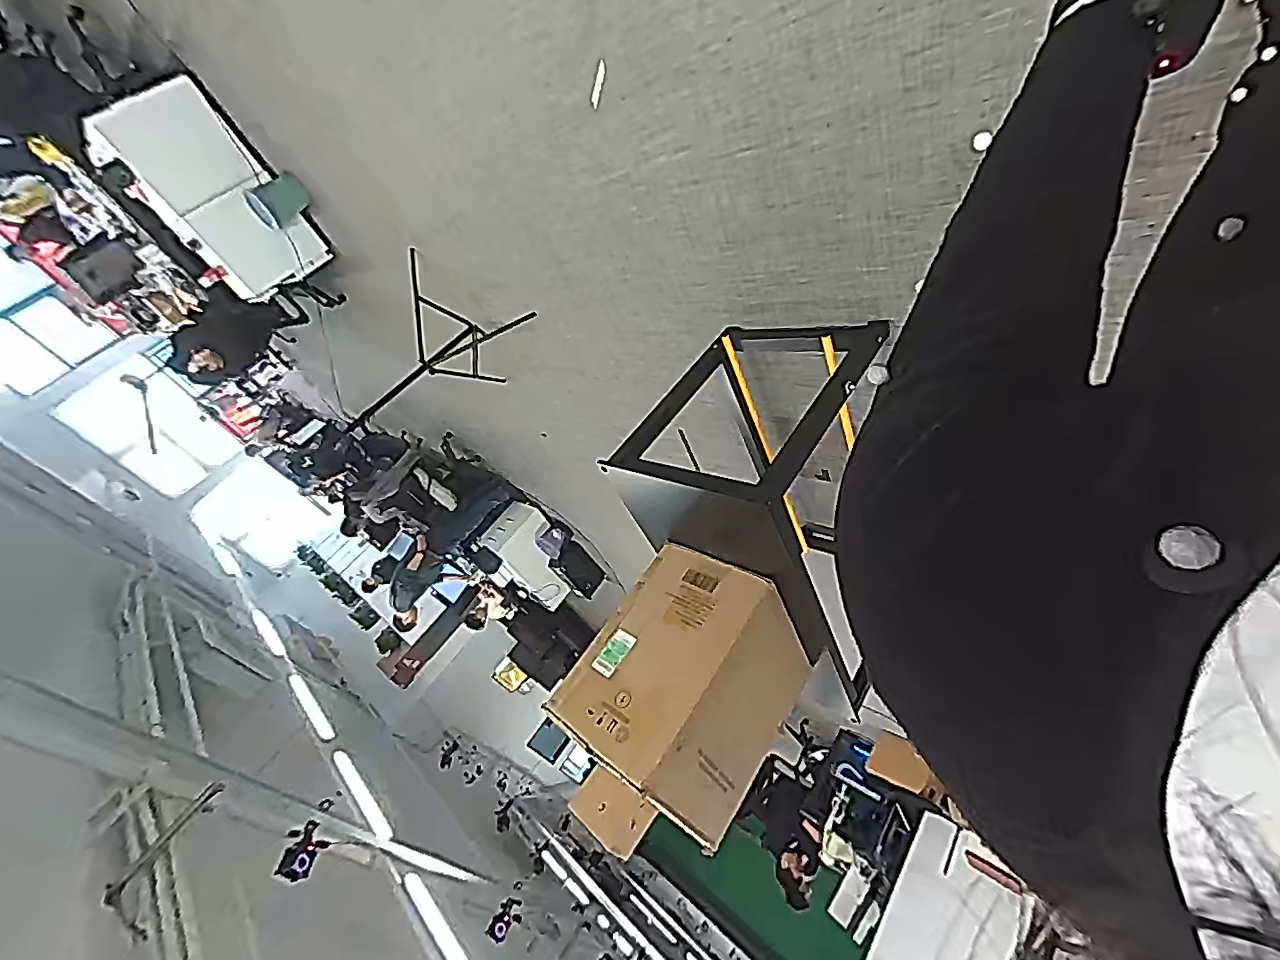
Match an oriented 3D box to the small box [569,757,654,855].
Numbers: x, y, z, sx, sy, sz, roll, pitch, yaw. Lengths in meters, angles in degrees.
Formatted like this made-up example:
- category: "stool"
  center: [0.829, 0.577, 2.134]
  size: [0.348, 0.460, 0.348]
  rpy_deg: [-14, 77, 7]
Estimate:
- category: "small box"
  center: [-0.078, 0.990, 1.653]
  size: [0.179, 0.176, 0.168]
  rpy_deg: [17, 147, 45]
